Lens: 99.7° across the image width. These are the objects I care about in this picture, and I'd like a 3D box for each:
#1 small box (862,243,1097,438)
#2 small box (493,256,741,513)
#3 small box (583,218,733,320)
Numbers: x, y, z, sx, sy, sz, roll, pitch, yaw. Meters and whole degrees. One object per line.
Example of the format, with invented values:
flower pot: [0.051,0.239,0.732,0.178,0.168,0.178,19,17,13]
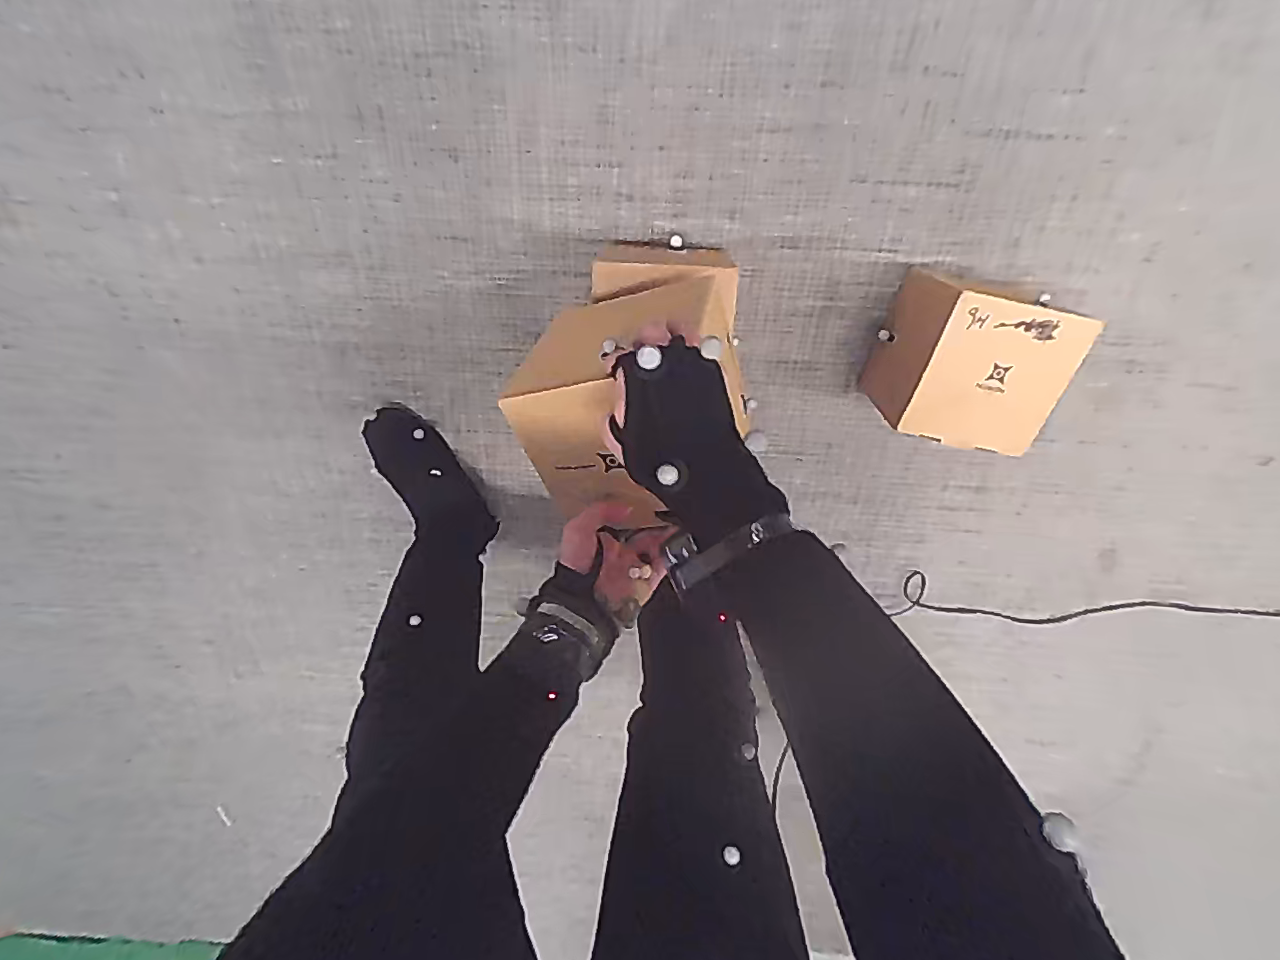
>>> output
small box: [0.407,-0.183,0.693,0.168,0.176,0.179,12,123,-3]
small box: [-0.003,-0.091,0.524,0.179,0.176,0.168,-8,131,23]
small box: [0.020,-0.227,0.694,0.168,0.176,0.179,3,121,1]
